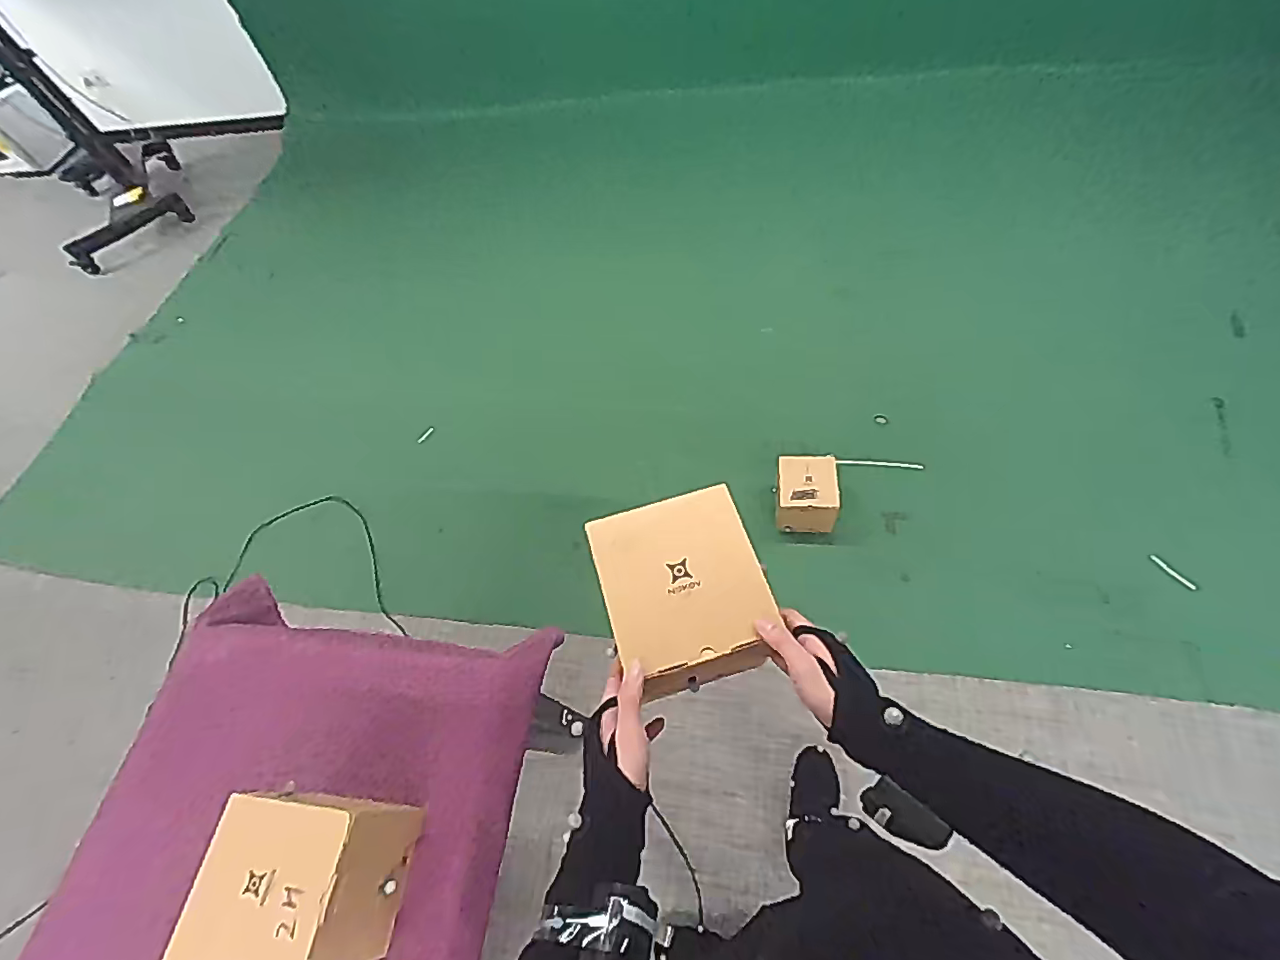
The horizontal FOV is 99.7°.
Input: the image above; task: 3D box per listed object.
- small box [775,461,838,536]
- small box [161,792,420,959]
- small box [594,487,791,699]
[{"bbox_3d":[0.504,0.059,1.651,0.168,0.176,0.179,1,59,10],"label":"small box"},{"bbox_3d":[-0.415,0.499,0.676,0.179,0.176,0.168,2,61,11],"label":"small box"},{"bbox_3d":[0.050,0.137,0.628,0.168,0.176,0.179,-15,63,-6],"label":"small box"}]
